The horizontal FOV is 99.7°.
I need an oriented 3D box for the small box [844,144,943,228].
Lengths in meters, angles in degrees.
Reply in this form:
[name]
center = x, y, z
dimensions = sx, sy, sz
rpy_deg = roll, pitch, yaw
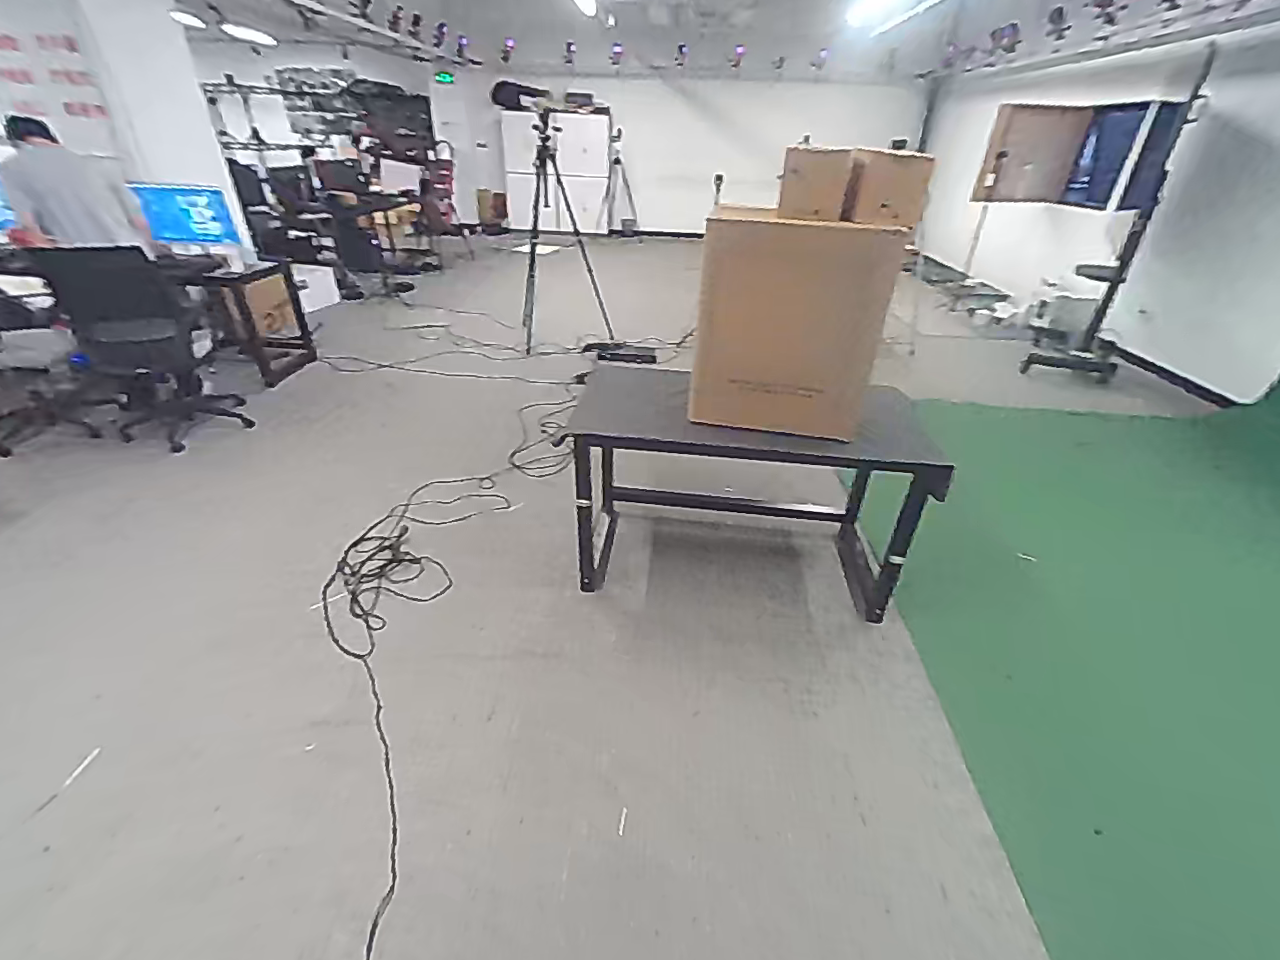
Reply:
[small box]
center = 0.666, -0.787, 1.446
dimensions = 0.168, 0.176, 0.179
rpy_deg = 6, 36, -1
